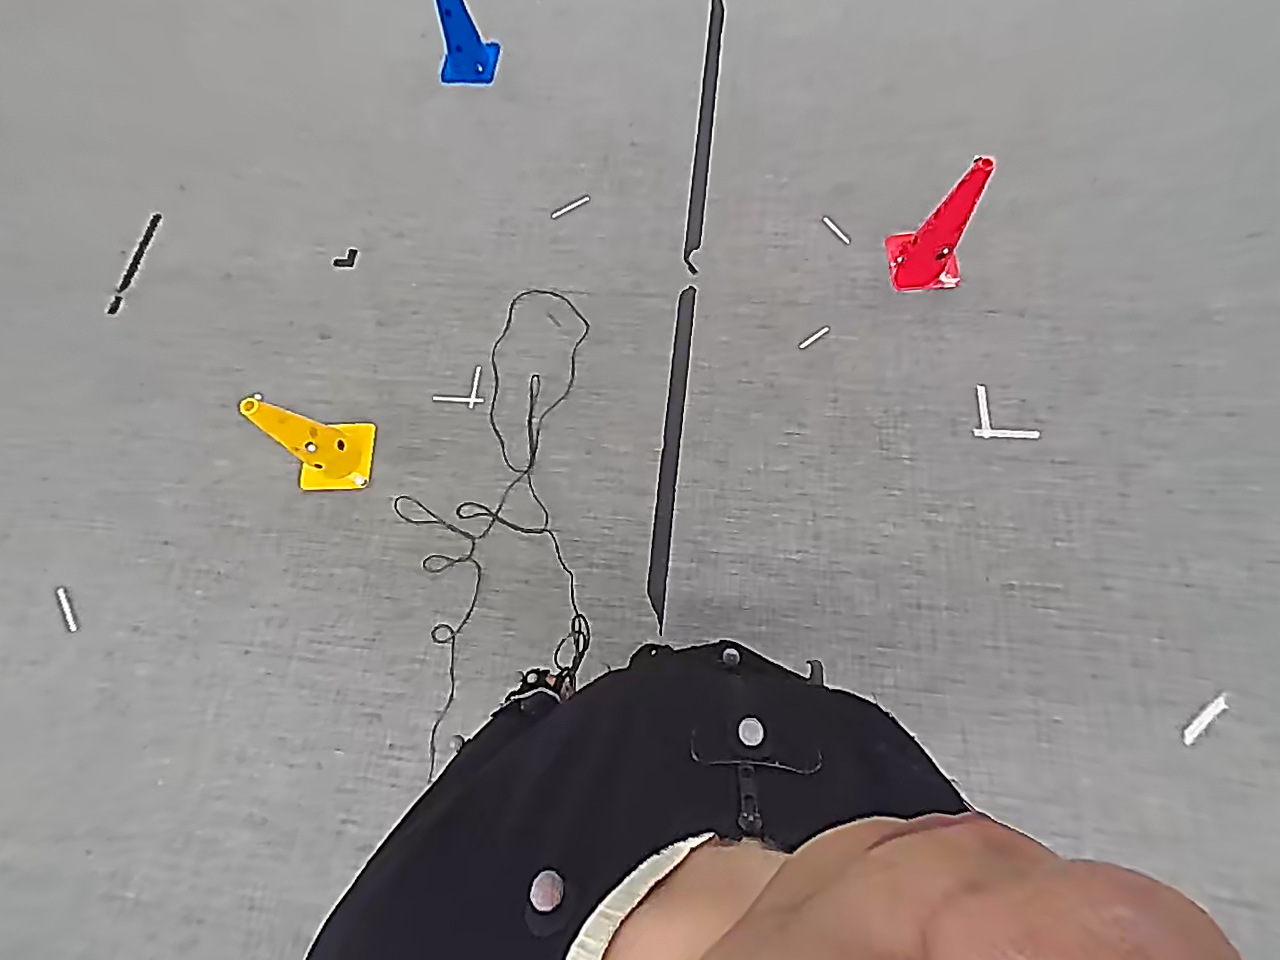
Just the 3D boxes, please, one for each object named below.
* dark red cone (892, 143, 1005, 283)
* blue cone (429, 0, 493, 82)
[{"bbox_3d":[0.849,-0.721,1.449,0.201,0.394,0.202,-3,73,3],"label":"dark red cone"},{"bbox_3d":[-0.648,-1.571,1.814,0.192,0.380,0.193,5,74,6],"label":"blue cone"}]
